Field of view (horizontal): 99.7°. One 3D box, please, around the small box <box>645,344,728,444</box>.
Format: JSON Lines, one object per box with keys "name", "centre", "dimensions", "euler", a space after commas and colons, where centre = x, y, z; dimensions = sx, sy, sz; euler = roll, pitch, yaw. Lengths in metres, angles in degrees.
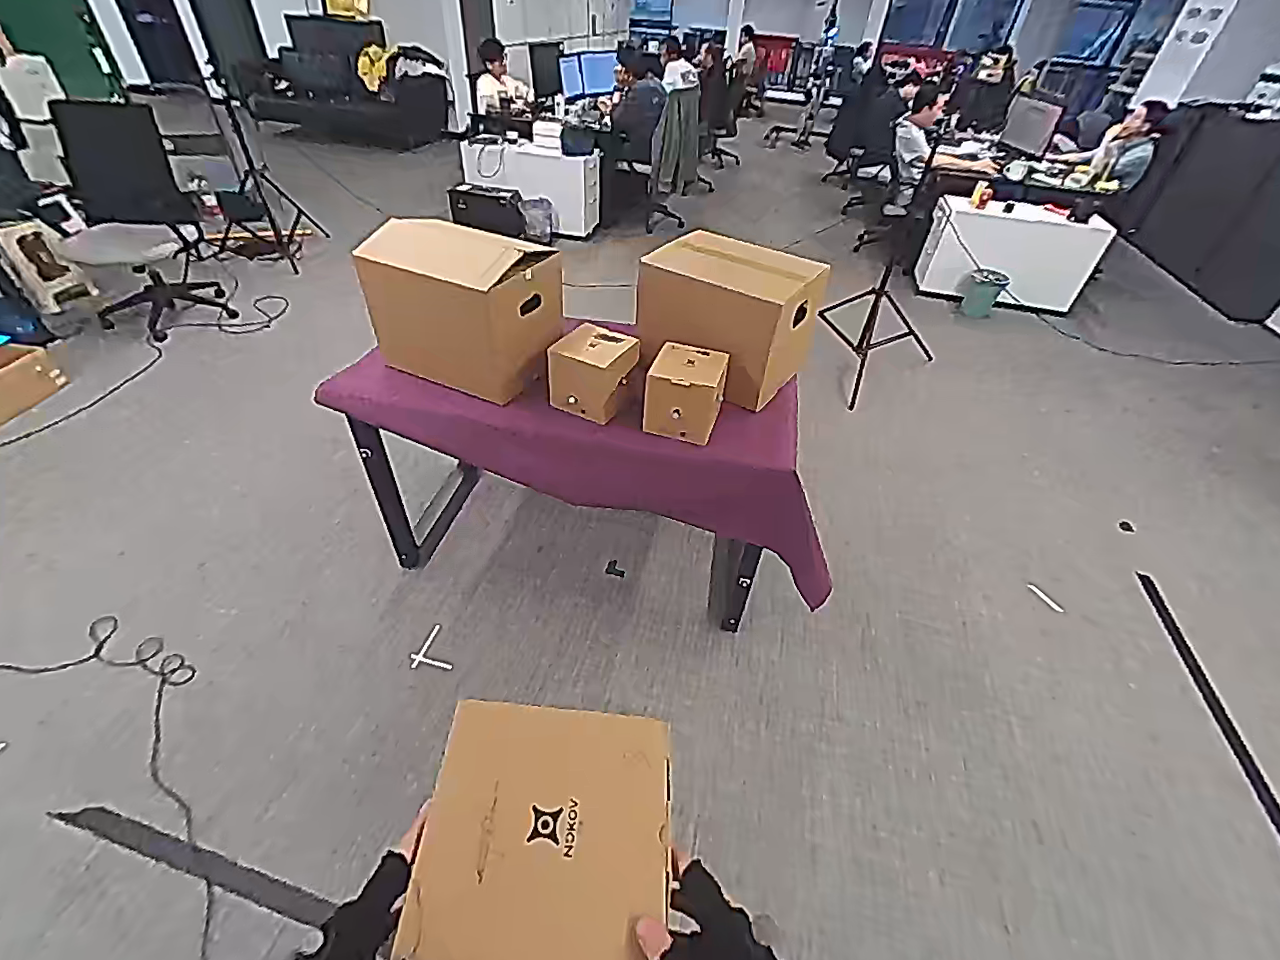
{"name": "small box", "centre": [0.113, -0.212, 1.345], "dimensions": [0.168, 0.176, 0.179], "euler": [14, 42, 10]}
